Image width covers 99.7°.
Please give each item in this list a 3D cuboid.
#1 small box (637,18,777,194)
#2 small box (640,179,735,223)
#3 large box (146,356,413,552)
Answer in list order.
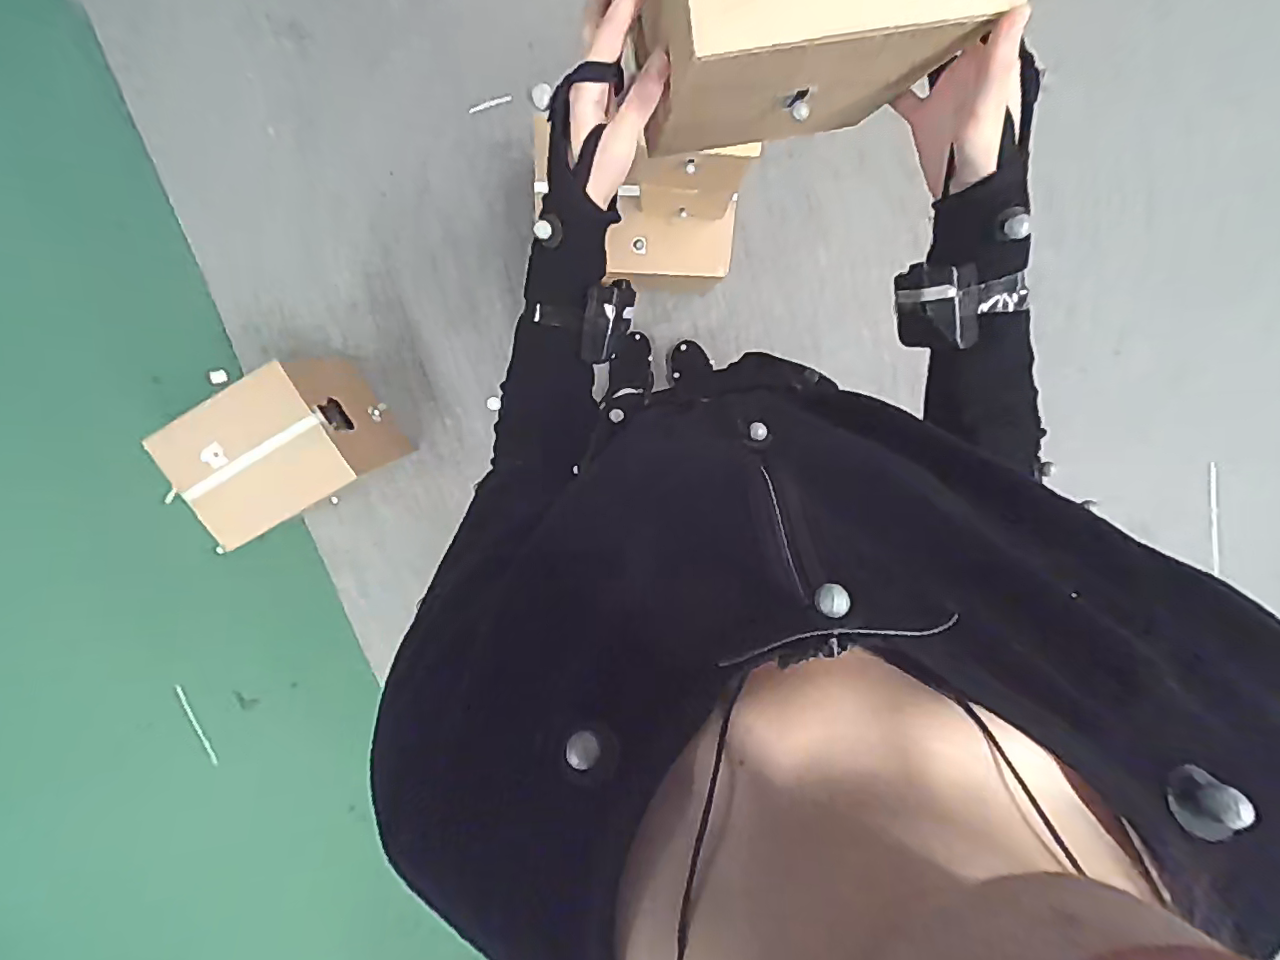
[{"bbox_3d":[0.093,-0.551,0.823,0.179,0.176,0.168,6,102,1],"label":"small box"},{"bbox_3d":[0.089,-0.587,0.981,0.168,0.176,0.179,5,102,1],"label":"small box"},{"bbox_3d":[-0.885,-0.082,1.383,0.408,0.320,0.320,-27,100,9],"label":"large box"}]
